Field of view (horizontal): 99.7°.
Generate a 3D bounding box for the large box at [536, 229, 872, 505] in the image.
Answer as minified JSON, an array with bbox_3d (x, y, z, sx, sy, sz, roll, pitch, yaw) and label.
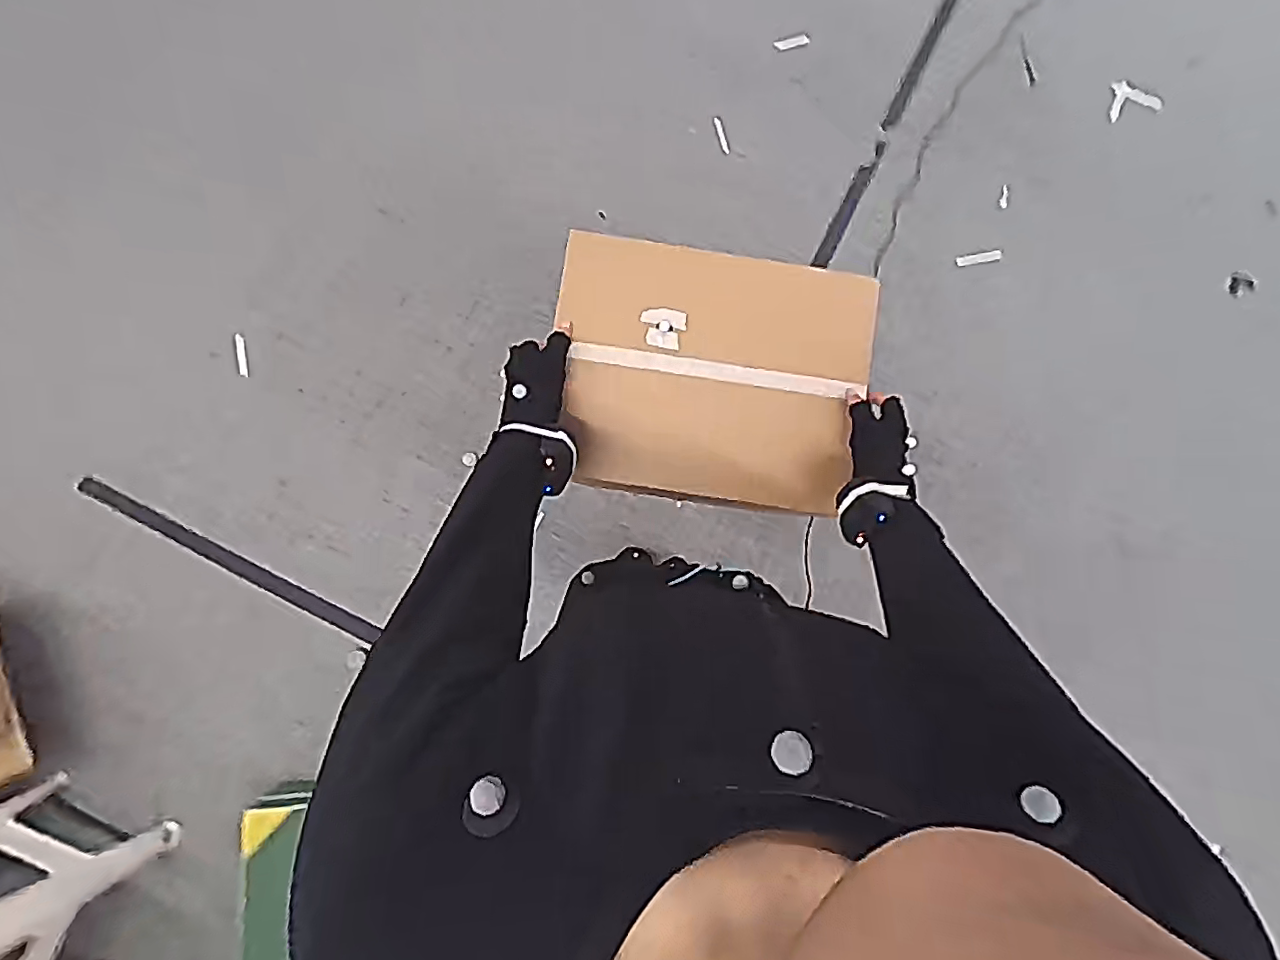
[{"bbox_3d":[0.085,-0.141,0.841,0.408,0.320,0.320,9,87,-1],"label":"large box"}]
